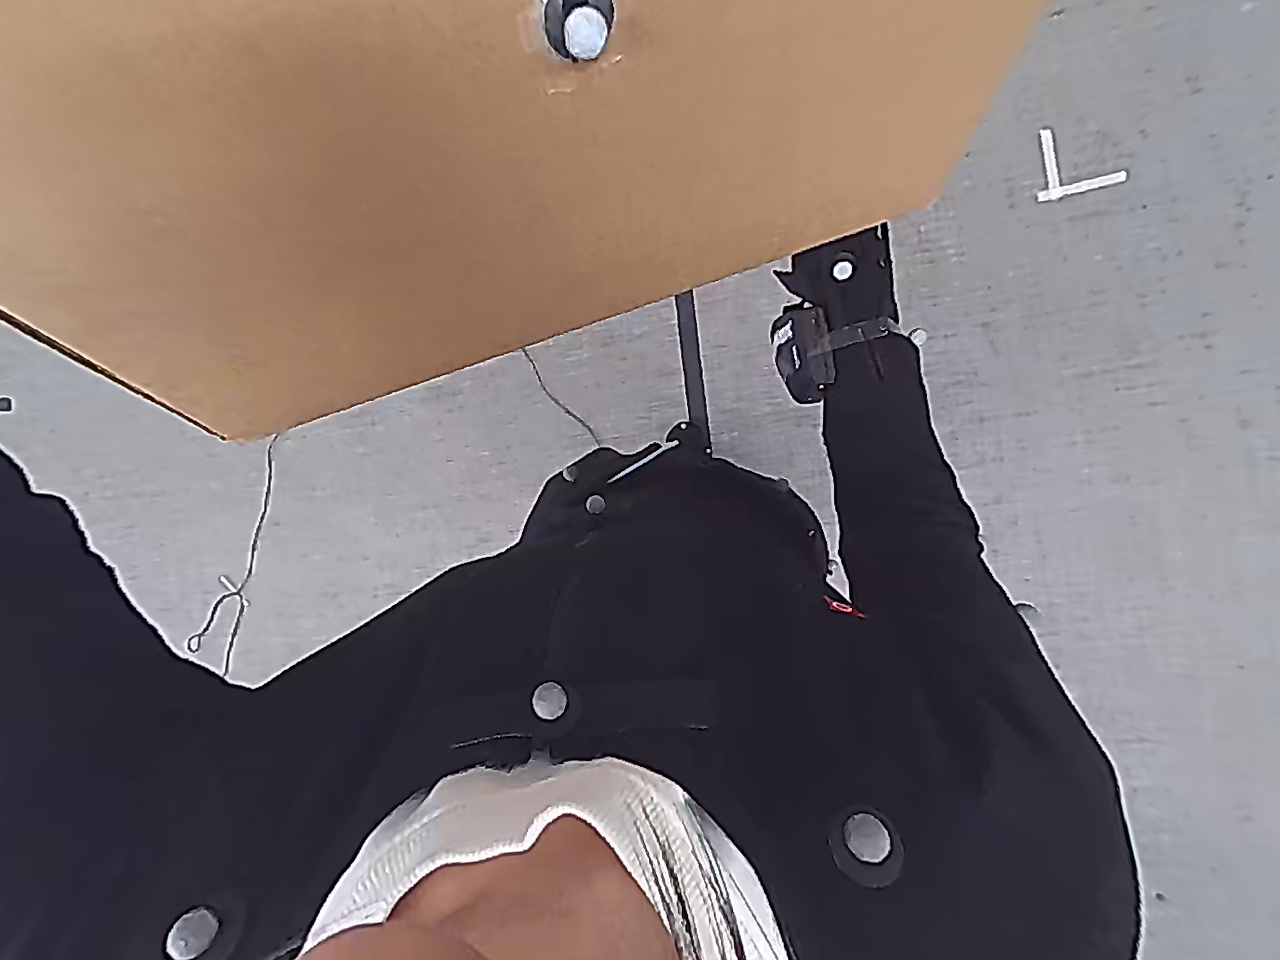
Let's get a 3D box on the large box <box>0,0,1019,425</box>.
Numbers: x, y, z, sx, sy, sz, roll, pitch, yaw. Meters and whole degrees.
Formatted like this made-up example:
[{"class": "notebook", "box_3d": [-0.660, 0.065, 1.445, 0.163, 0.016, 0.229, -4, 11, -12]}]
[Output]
[{"class": "large box", "box_3d": [-0.069, -0.280, 0.228, 0.408, 0.320, 0.320, -22, 69, -5]}]
